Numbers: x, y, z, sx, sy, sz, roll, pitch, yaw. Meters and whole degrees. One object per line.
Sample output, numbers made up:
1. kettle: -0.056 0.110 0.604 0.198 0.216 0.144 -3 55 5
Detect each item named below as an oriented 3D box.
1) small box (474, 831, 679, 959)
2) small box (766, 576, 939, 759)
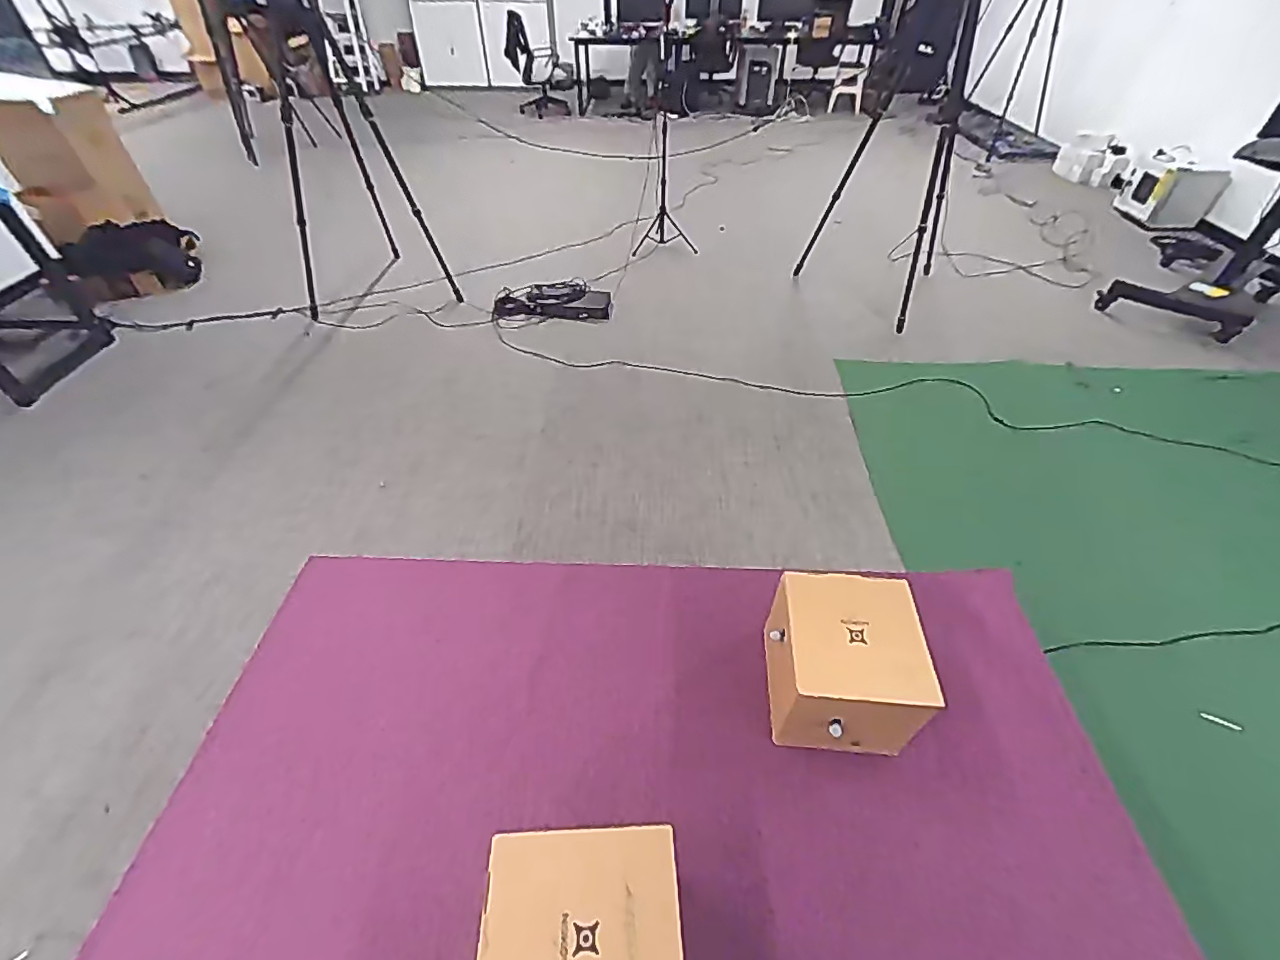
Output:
1. small box: -0.056 0.455 0.519 0.179 0.176 0.168 0 44 -3
2. small box: 0.267 0.253 0.727 0.168 0.176 0.179 3 44 5
